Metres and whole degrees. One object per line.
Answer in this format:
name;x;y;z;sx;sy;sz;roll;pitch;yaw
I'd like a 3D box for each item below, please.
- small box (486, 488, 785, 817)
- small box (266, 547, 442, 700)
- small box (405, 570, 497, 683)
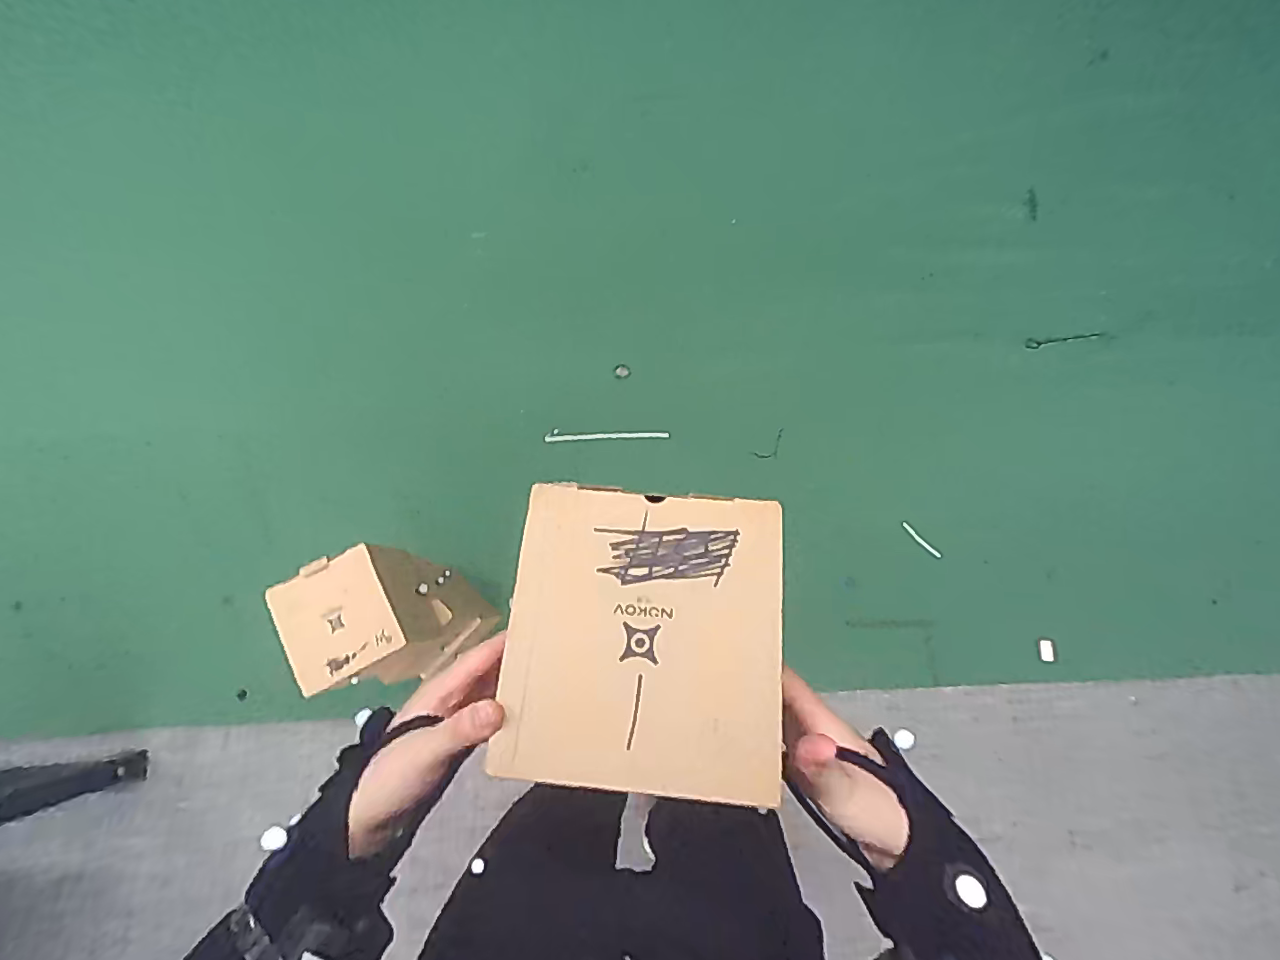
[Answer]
small box;0.005;0.120;0.394;0.168;0.176;0.179;4;70;3
small box;-0.455;0.229;0.885;0.168;0.176;0.179;-28;79;-5
small box;-0.447;0.317;1.202;0.179;0.176;0.168;42;81;9
